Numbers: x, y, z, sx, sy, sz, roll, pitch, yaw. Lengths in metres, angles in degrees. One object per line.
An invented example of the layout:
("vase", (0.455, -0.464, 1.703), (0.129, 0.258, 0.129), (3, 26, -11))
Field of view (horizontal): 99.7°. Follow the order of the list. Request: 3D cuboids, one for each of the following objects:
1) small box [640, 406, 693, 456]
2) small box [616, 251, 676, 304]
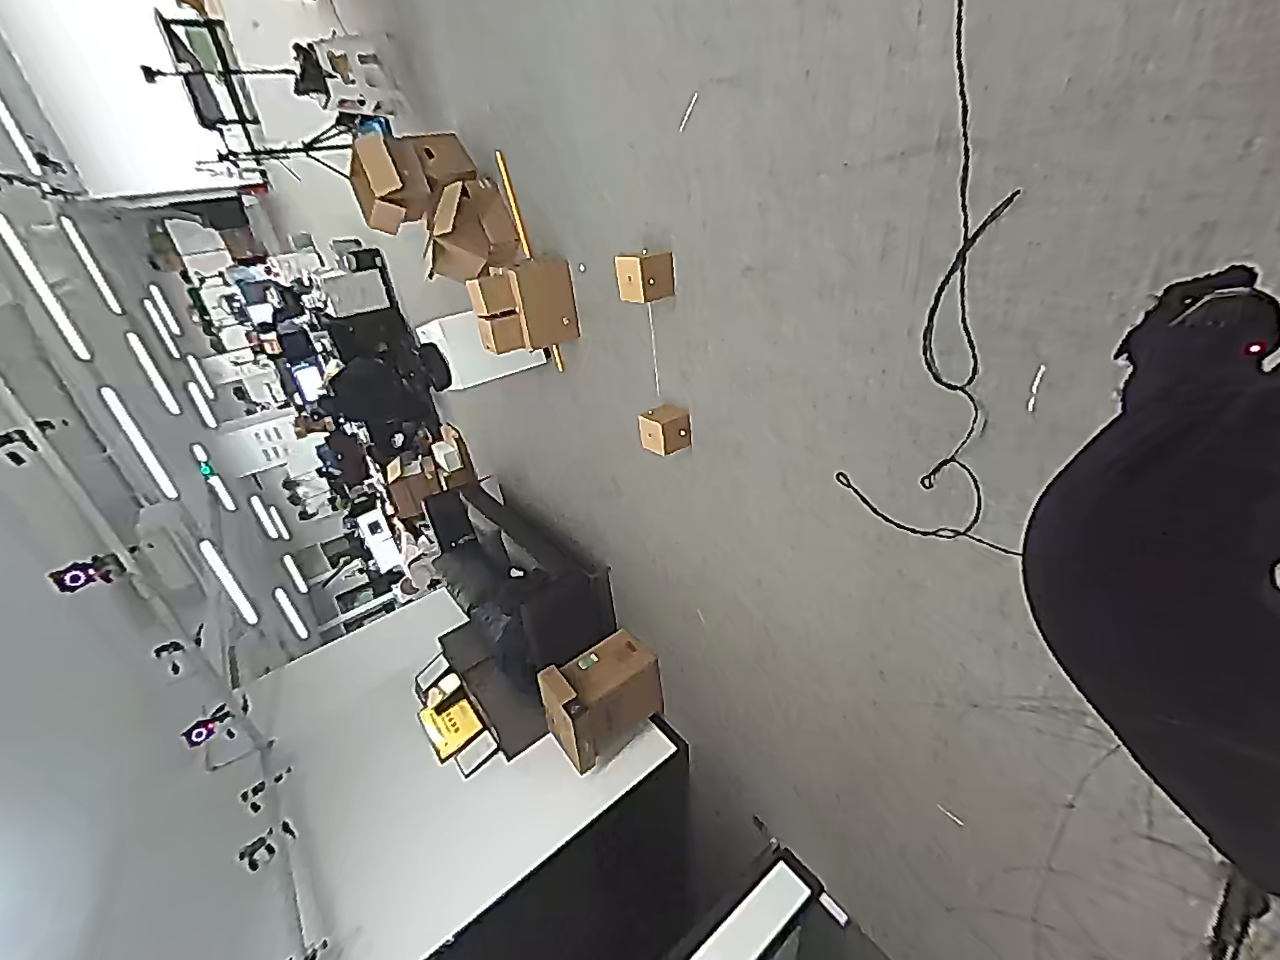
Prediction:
("small box", (0.125, -0.235, 2.531), (0.179, 0.176, 0.168), (28, 136, 47))
("small box", (0.028, -0.831, 2.206), (0.168, 0.176, 0.179), (27, 136, 46))
